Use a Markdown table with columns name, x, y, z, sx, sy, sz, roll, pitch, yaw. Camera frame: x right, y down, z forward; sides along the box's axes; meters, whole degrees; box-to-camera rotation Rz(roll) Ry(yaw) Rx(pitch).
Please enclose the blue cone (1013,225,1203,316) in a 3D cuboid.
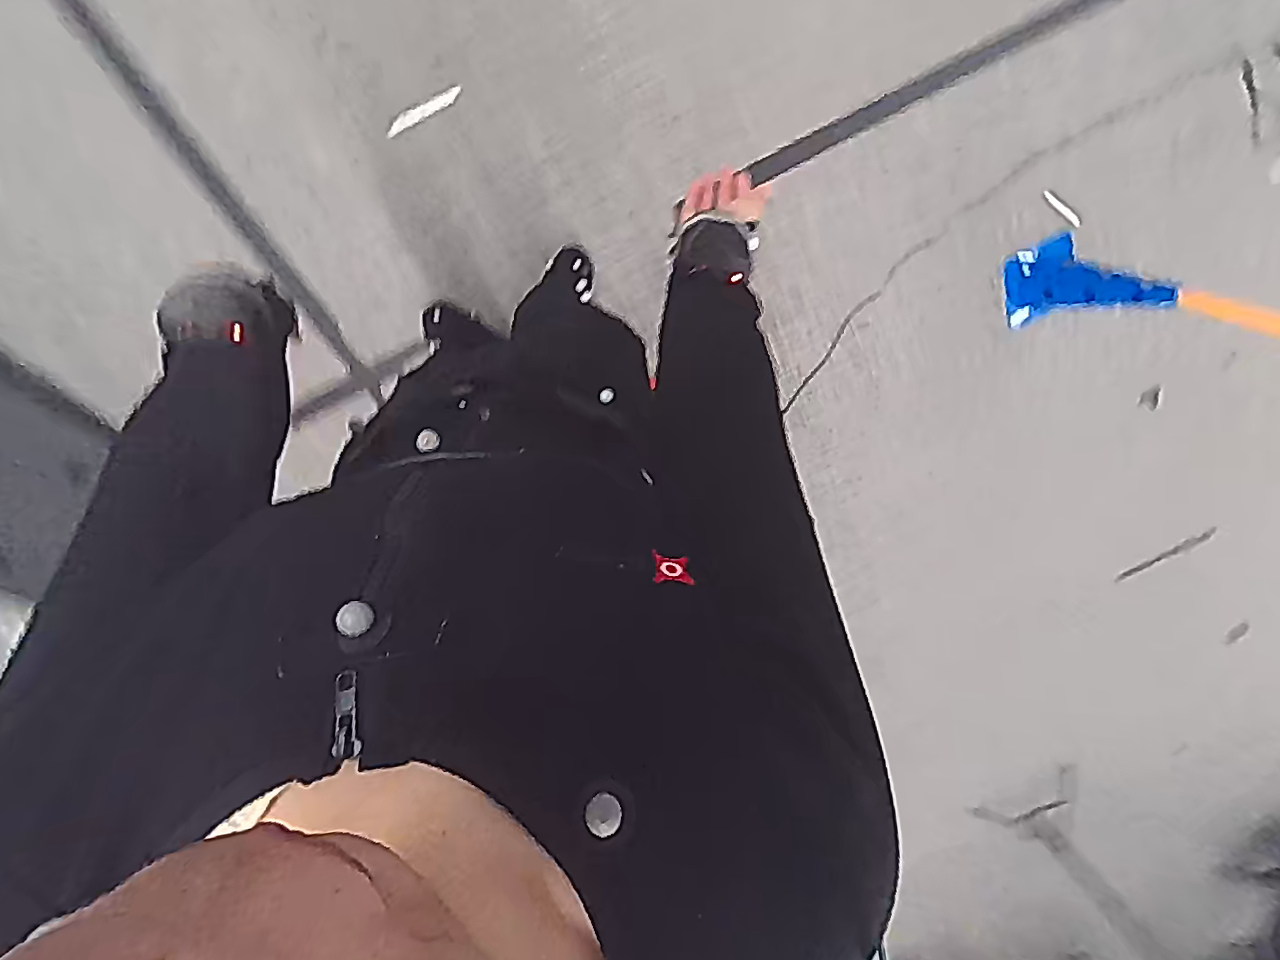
| name | x | y | z | sx | sy | sz | roll | pitch | yaw |
| --- | --- | --- | --- | --- | --- | --- | --- | --- | --- |
| blue cone | 1.117 | -0.489 | 1.297 | 0.192 | 0.380 | 0.193 | -26 | 117 | 0 |
